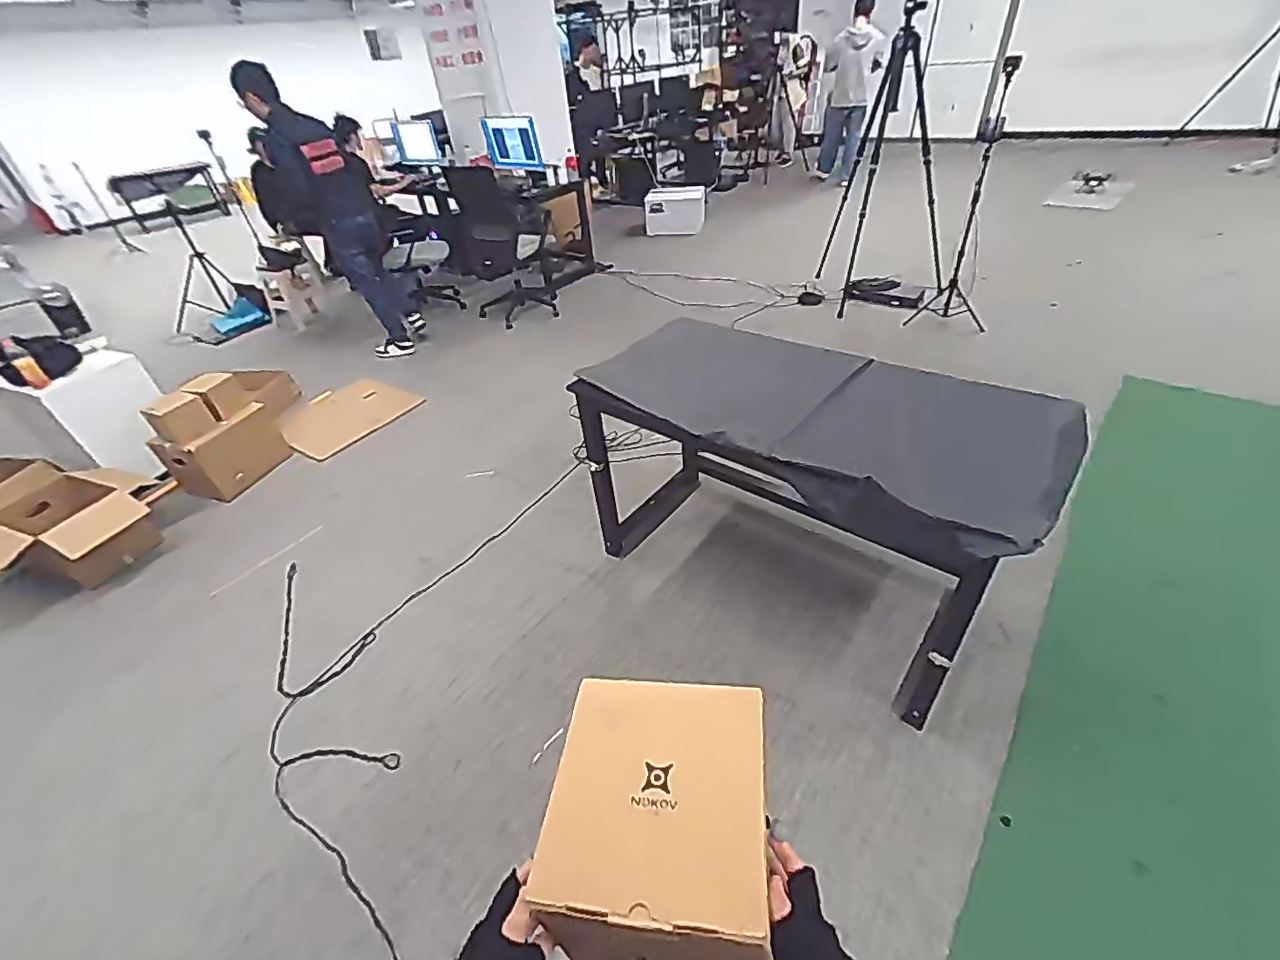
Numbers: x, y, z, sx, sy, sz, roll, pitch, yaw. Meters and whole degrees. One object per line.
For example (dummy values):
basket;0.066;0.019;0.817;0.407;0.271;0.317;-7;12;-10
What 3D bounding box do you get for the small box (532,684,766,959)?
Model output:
small box;0.026;0.309;0.479;0.168;0.176;0.179;-1;39;12
